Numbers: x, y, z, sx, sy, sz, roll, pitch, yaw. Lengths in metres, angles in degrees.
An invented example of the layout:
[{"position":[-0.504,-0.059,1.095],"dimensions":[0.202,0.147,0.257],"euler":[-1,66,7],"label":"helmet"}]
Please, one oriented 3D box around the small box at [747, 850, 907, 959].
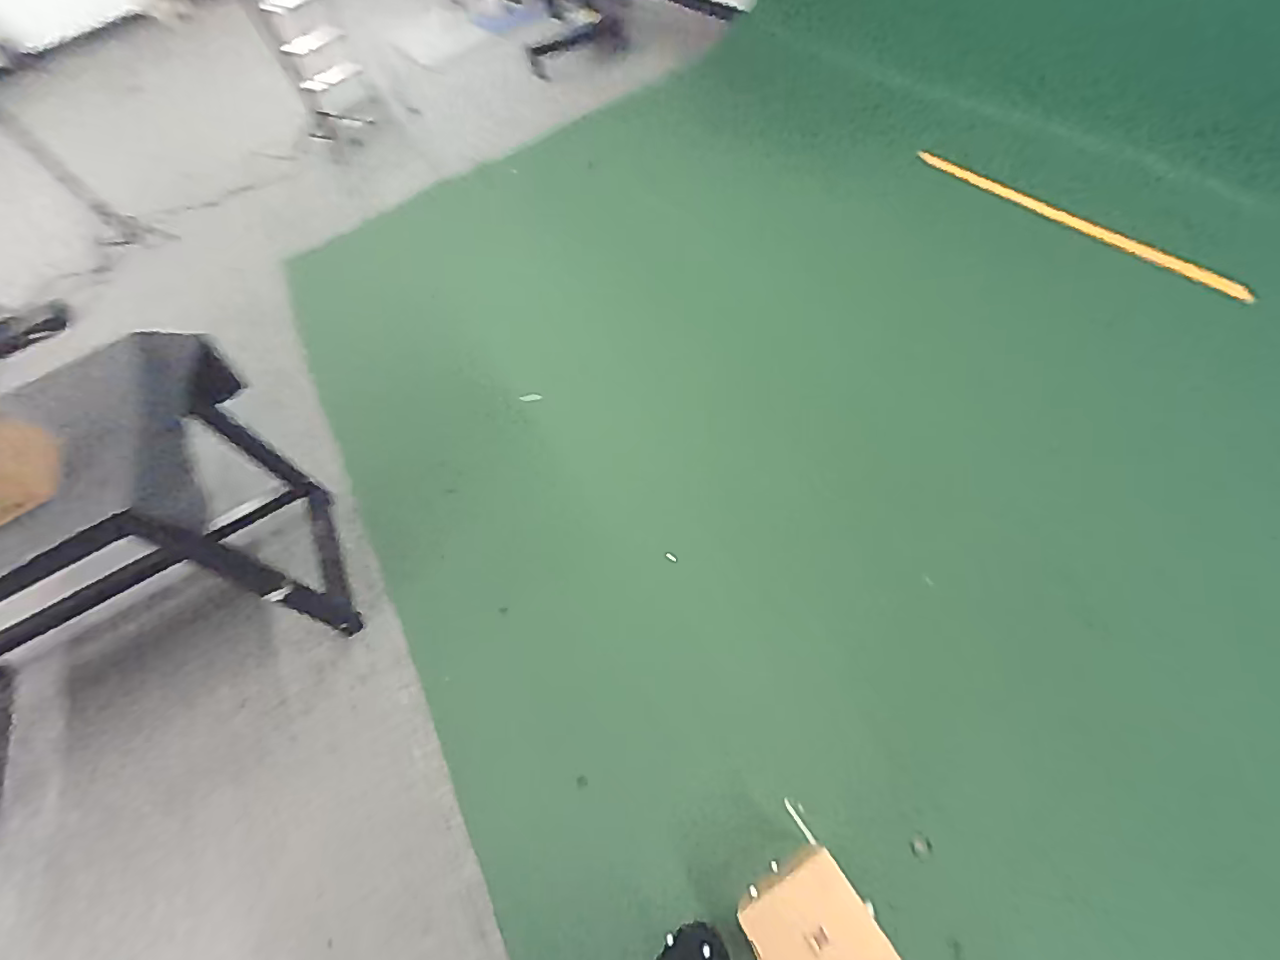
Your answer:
[{"position":[0.288,0.727,0.867],"dimensions":[0.179,0.176,0.168],"euler":[-32,57,-8],"label":"small box"}]
